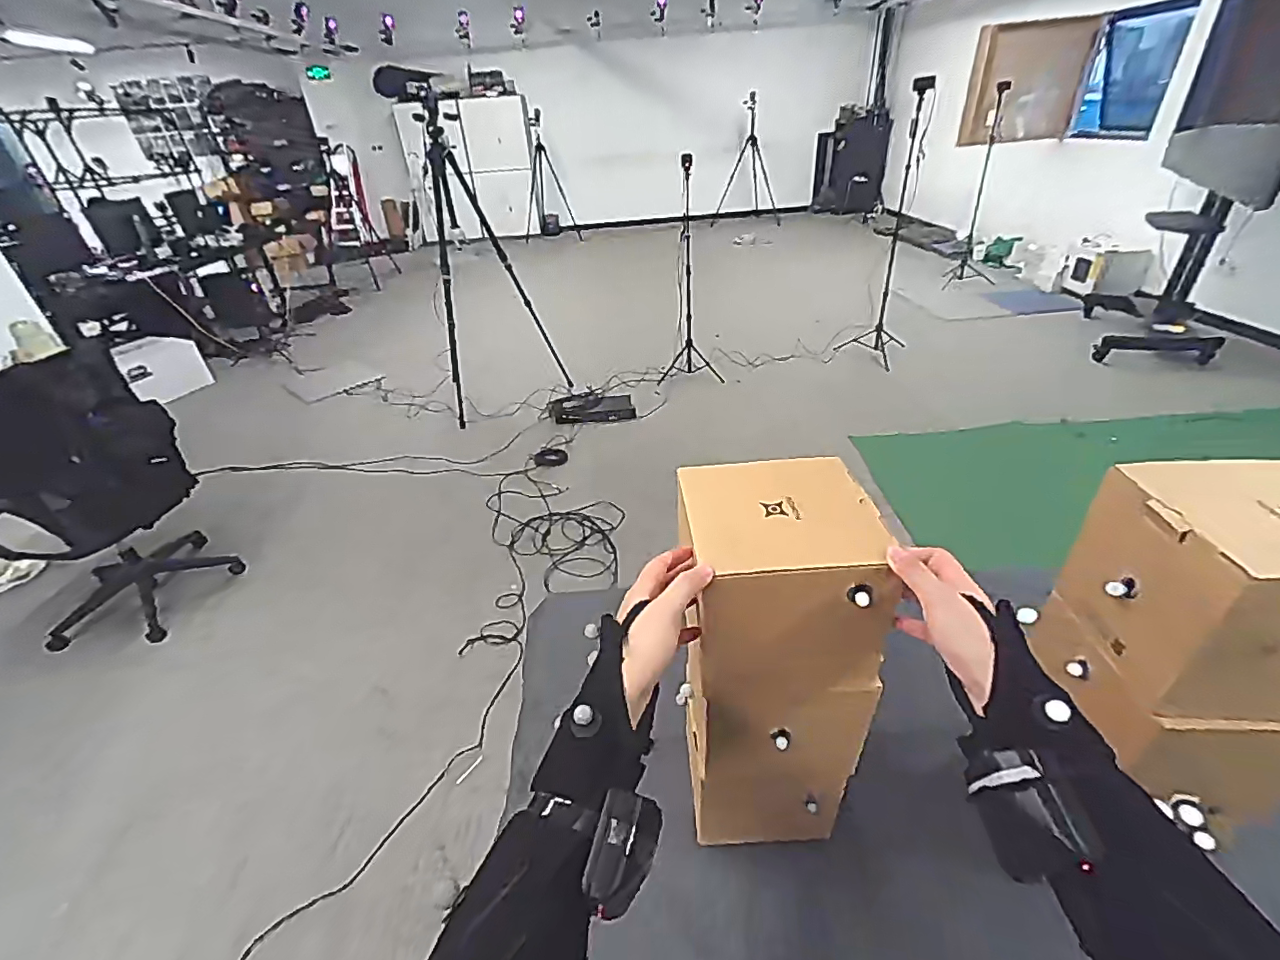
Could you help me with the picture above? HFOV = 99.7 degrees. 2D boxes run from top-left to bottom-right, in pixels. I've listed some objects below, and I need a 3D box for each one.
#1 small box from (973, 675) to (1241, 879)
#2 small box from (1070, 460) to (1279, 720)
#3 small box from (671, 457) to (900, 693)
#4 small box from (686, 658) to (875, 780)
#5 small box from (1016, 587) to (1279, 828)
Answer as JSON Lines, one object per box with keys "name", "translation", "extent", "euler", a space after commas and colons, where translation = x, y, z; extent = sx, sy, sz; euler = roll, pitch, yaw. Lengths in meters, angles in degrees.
{"name": "small box", "translation": [0.557, 0.365, 0.671], "extent": [0.179, 0.176, 0.168], "euler": [-1, 33, 5]}
{"name": "small box", "translation": [0.534, 0.097, 0.489], "extent": [0.179, 0.176, 0.168], "euler": [-1, 33, 8]}
{"name": "small box", "translation": [0.128, 0.095, 0.547], "extent": [0.179, 0.176, 0.168], "euler": [-4, 35, -1]}
{"name": "small box", "translation": [0.147, 0.228, 0.636], "extent": [0.179, 0.176, 0.168], "euler": [-4, 34, 1]}
{"name": "small box", "translation": [0.545, 0.235, 0.576], "extent": [0.168, 0.176, 0.179], "euler": [-2, 34, 7]}
